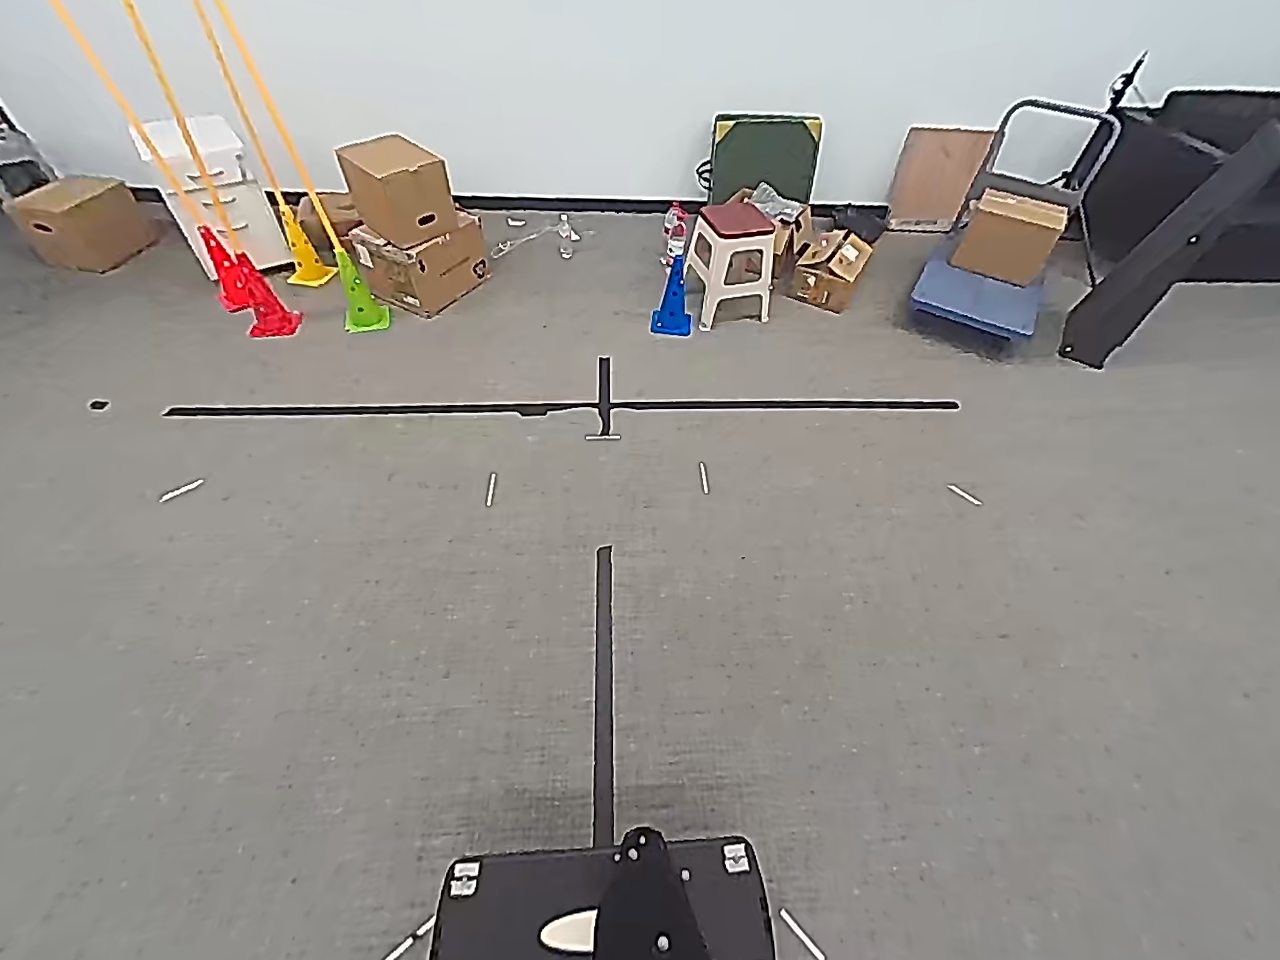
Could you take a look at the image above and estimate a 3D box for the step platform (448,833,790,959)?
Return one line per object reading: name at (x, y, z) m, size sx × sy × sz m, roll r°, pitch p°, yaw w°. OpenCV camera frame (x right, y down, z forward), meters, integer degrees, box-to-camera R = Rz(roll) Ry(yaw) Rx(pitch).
step platform at (-0.042, 0.937, 1.135) m, size 0.684 × 0.204 × 0.286 m, roll -1°, pitch 49°, yaw -6°
